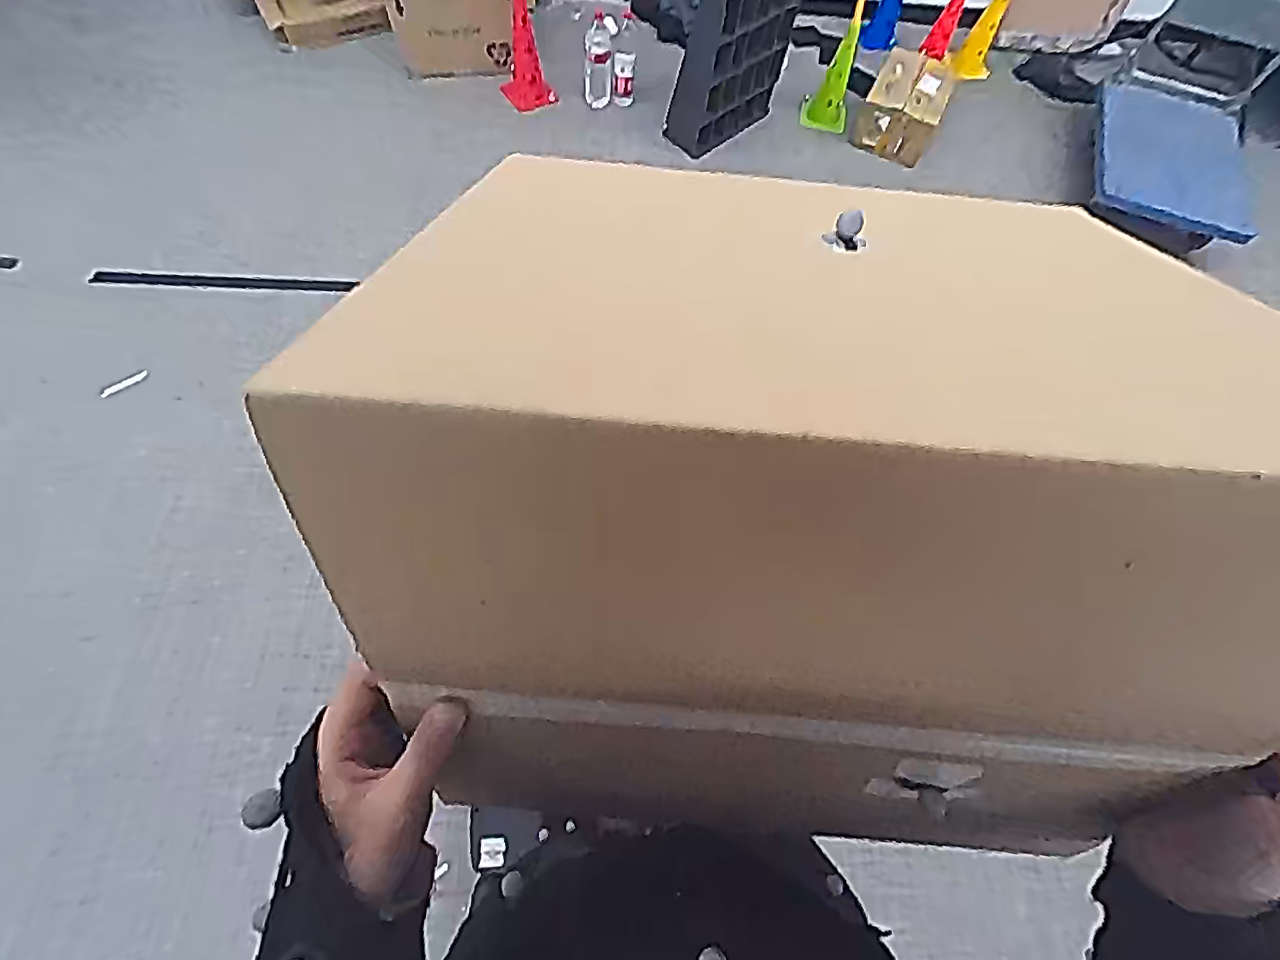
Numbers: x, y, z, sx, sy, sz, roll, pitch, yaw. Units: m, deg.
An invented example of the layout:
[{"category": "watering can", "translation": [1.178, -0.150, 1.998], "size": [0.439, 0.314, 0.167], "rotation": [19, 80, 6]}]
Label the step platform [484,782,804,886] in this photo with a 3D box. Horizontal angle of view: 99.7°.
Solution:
[{"category": "step platform", "translation": [0.010, 0.686, 1.200], "size": [0.684, 0.204, 0.286], "rotation": [7, 65, -2]}]

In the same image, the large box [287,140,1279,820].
[{"category": "large box", "translation": [0.098, -0.013, 0.353], "size": [0.408, 0.320, 0.320], "rotation": [4, 42, 0]}]
